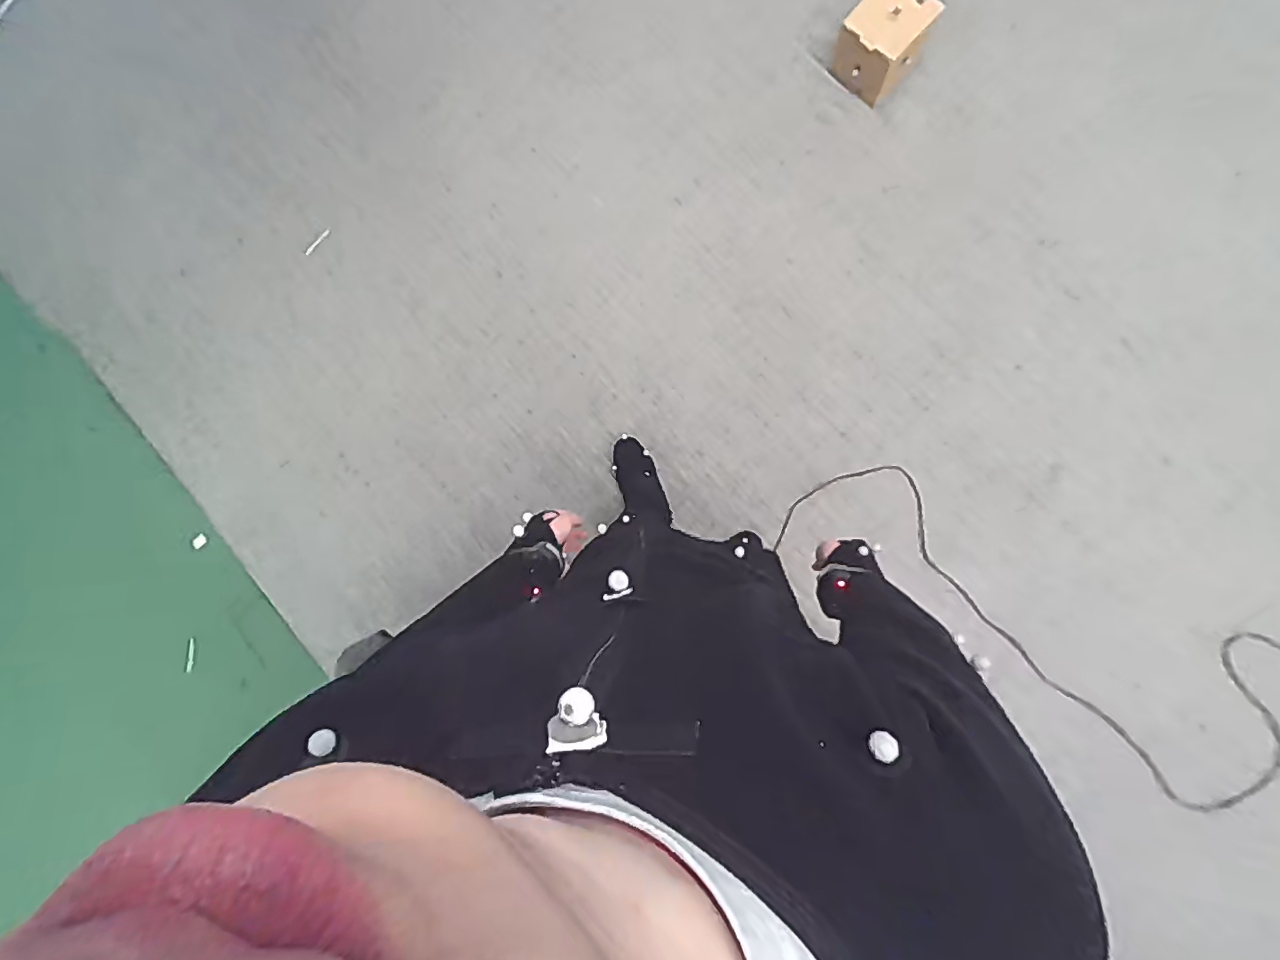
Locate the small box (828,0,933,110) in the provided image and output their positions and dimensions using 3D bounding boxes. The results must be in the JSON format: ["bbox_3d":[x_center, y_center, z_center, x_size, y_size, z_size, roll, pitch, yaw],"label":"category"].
[{"bbox_3d":[0.613,-1.126,1.411,0.168,0.176,0.179,45,96,6],"label":"small box"}]
